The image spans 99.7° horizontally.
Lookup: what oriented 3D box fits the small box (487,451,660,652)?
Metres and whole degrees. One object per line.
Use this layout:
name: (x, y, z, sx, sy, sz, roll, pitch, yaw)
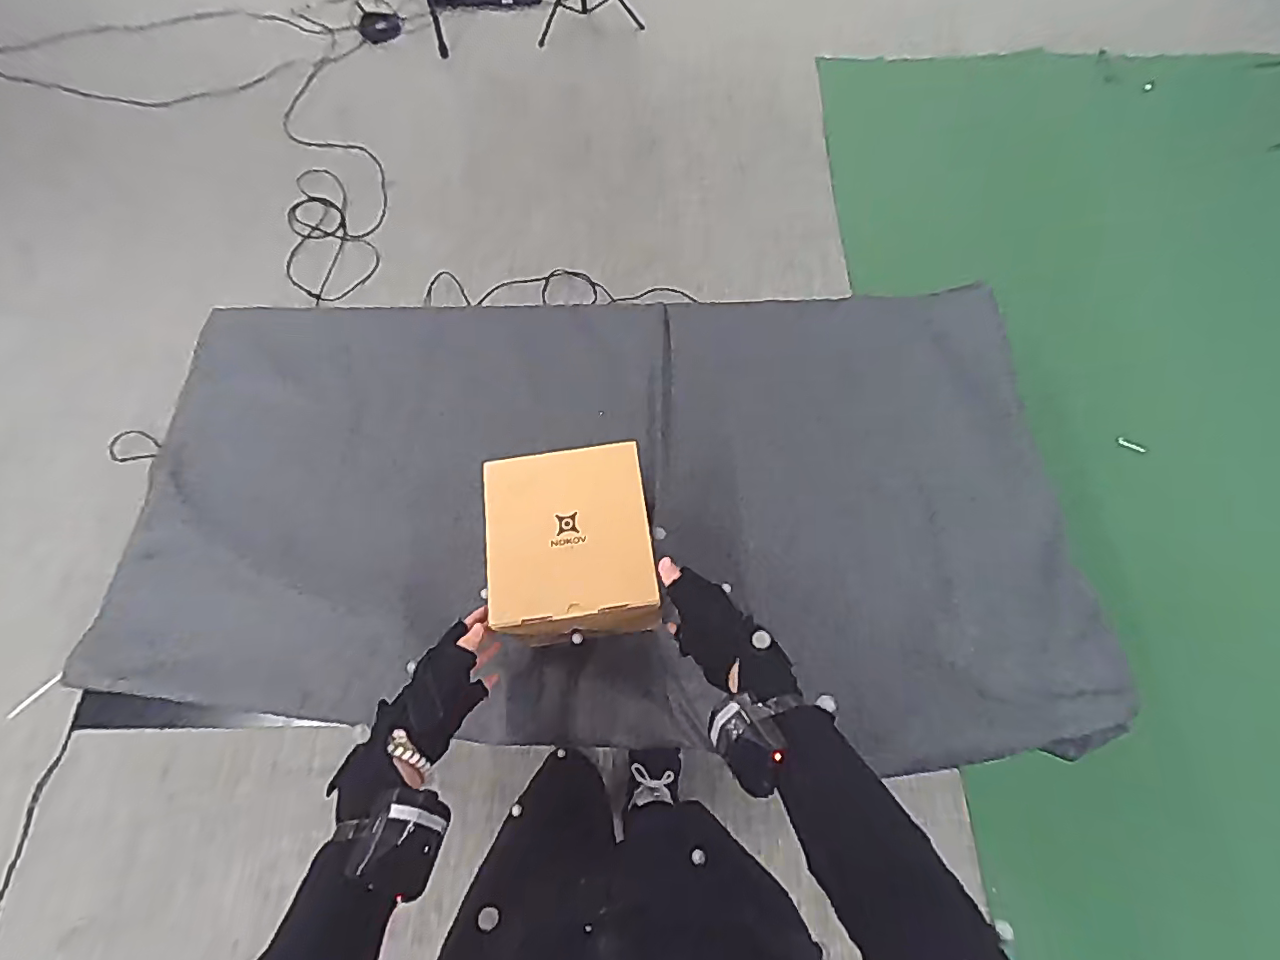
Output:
small box: (-0.072, 0.088, 0.617, 0.168, 0.176, 0.179, -7, 67, -3)
